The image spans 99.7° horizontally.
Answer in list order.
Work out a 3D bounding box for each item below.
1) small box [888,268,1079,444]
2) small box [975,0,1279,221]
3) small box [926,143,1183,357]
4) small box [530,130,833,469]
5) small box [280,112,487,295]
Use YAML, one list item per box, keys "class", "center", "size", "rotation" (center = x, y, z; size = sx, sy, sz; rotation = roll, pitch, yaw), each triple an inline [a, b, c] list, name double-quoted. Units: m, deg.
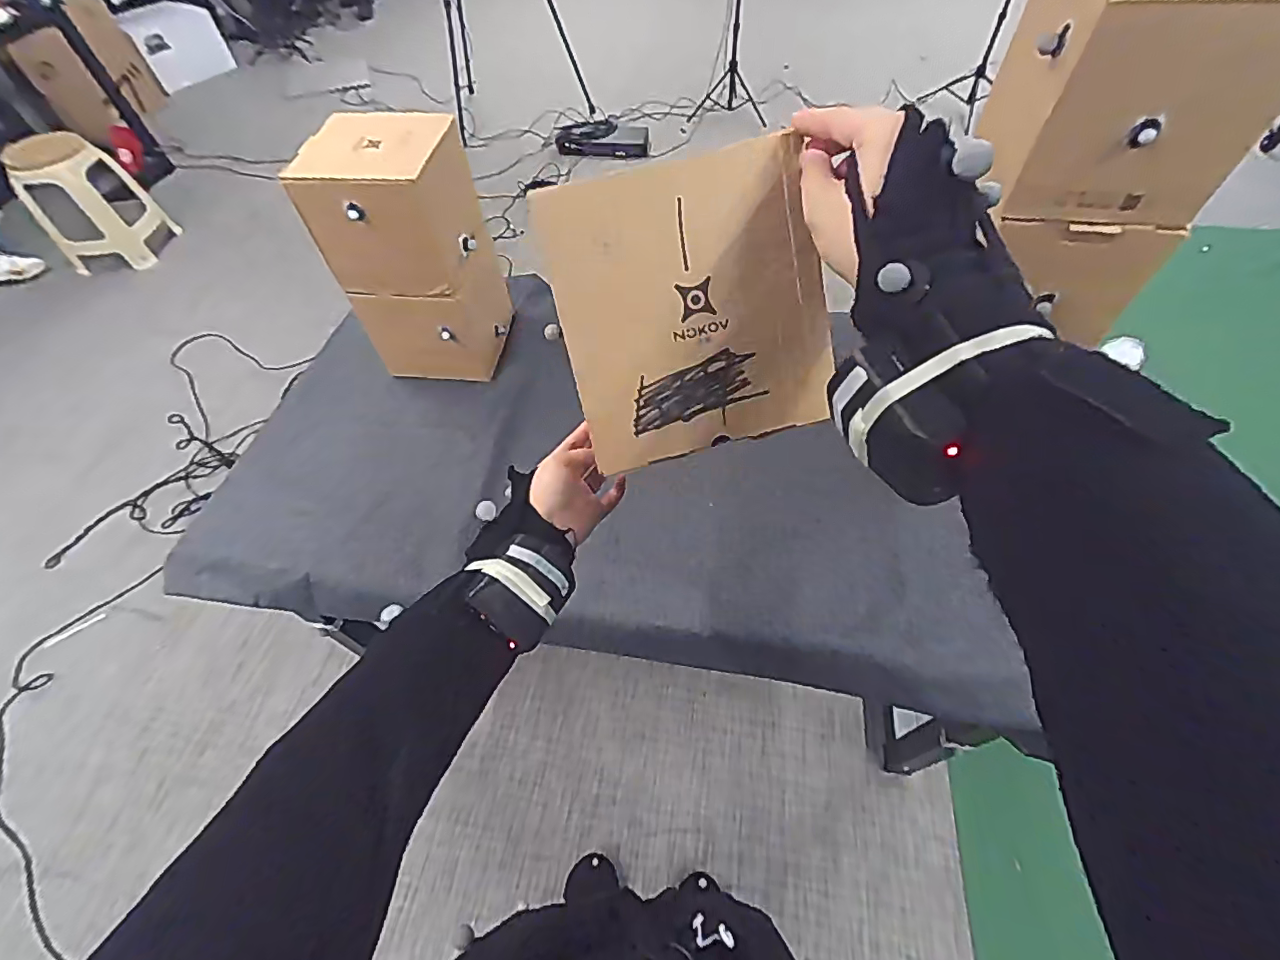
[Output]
- class: "small box"
  center: [0.463, -0.177, 0.765]
  size: [0.168, 0.176, 0.179]
  rotation: [9, 57, 9]
- class: "small box"
  center: [0.437, -0.360, 0.492]
  size: [0.168, 0.176, 0.179]
  rotation: [8, 56, 8]
- class: "small box"
  center: [0.452, -0.266, 0.628]
  size: [0.168, 0.176, 0.179]
  rotation: [9, 58, 9]
- class: "small box"
  center: [0.026, -0.127, 0.410]
  size: [0.168, 0.179, 0.176]
  rotation: [-13, 17, -2]
- class: "small box"
  center: [-0.334, -0.376, 0.745]
  size: [0.179, 0.176, 0.168]
  rotation: [4, 58, 4]
